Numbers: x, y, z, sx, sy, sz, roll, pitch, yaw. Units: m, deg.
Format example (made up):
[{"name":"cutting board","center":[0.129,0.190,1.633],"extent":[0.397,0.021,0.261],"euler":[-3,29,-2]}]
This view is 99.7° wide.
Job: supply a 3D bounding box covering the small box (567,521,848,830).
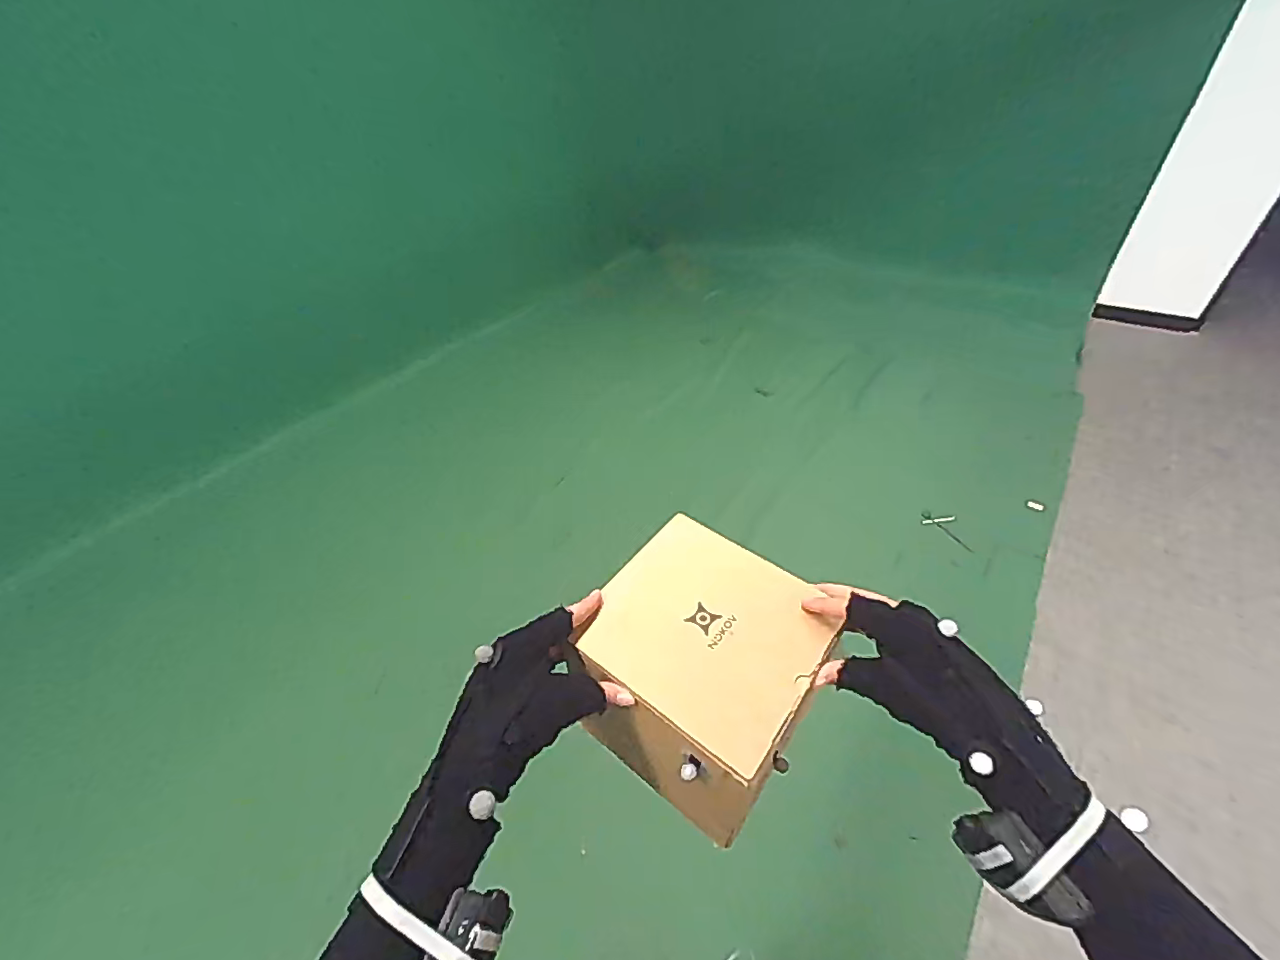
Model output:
[{"name":"small box","center":[0.055,0.177,0.496],"extent":[0.179,0.176,0.168],"euler":[30,51,27]}]
